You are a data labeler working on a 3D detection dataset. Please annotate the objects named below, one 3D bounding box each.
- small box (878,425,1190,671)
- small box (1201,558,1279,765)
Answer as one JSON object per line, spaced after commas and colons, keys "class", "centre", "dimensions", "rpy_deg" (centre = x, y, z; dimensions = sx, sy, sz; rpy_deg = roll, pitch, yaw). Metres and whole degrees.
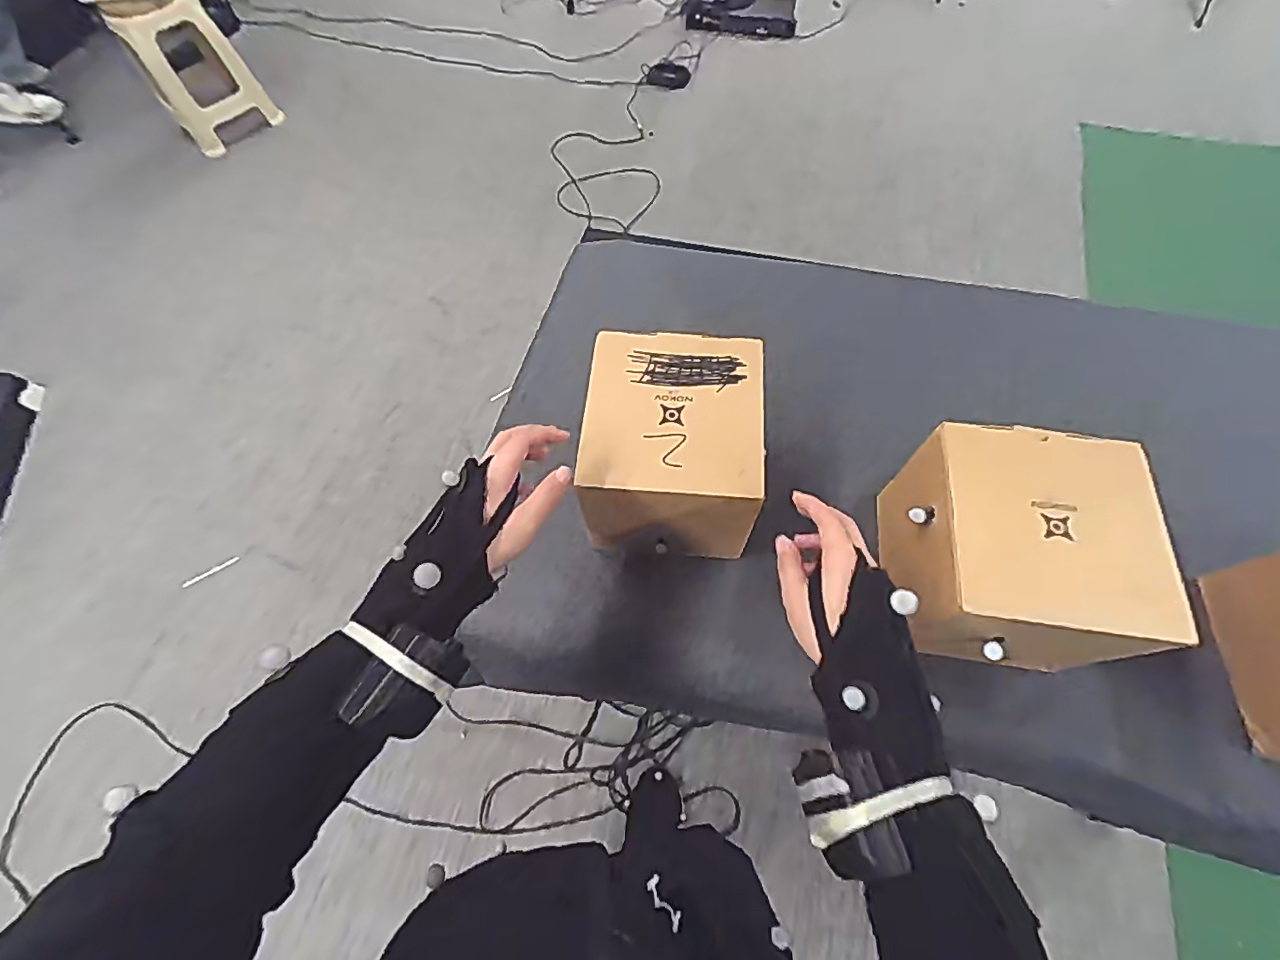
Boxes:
{"class": "small box", "centre": [0.338, 0.072, 0.510], "dimensions": [0.168, 0.176, 0.179], "rpy_deg": [7, 63, 6]}
{"class": "small box", "centre": [0.649, 0.154, 0.457], "dimensions": [0.168, 0.176, 0.179], "rpy_deg": [5, 64, 6]}
